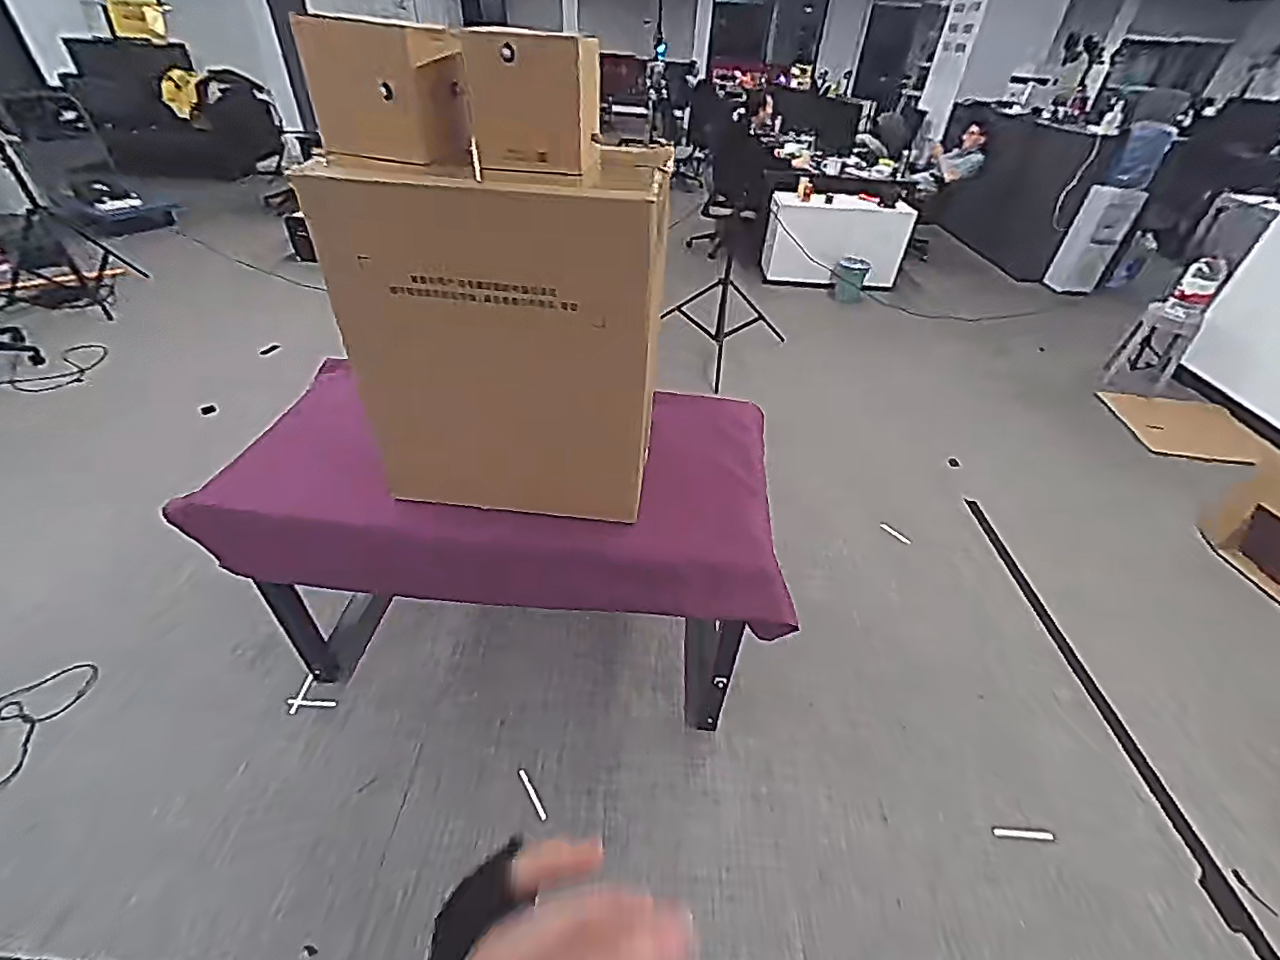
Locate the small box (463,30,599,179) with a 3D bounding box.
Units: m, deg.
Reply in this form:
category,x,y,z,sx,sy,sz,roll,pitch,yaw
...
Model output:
category,x,y,z,sx,sy,sz,roll,pitch,yaw
small box,-0.159,-0.585,0.845,0.168,0.176,0.179,5,39,3
